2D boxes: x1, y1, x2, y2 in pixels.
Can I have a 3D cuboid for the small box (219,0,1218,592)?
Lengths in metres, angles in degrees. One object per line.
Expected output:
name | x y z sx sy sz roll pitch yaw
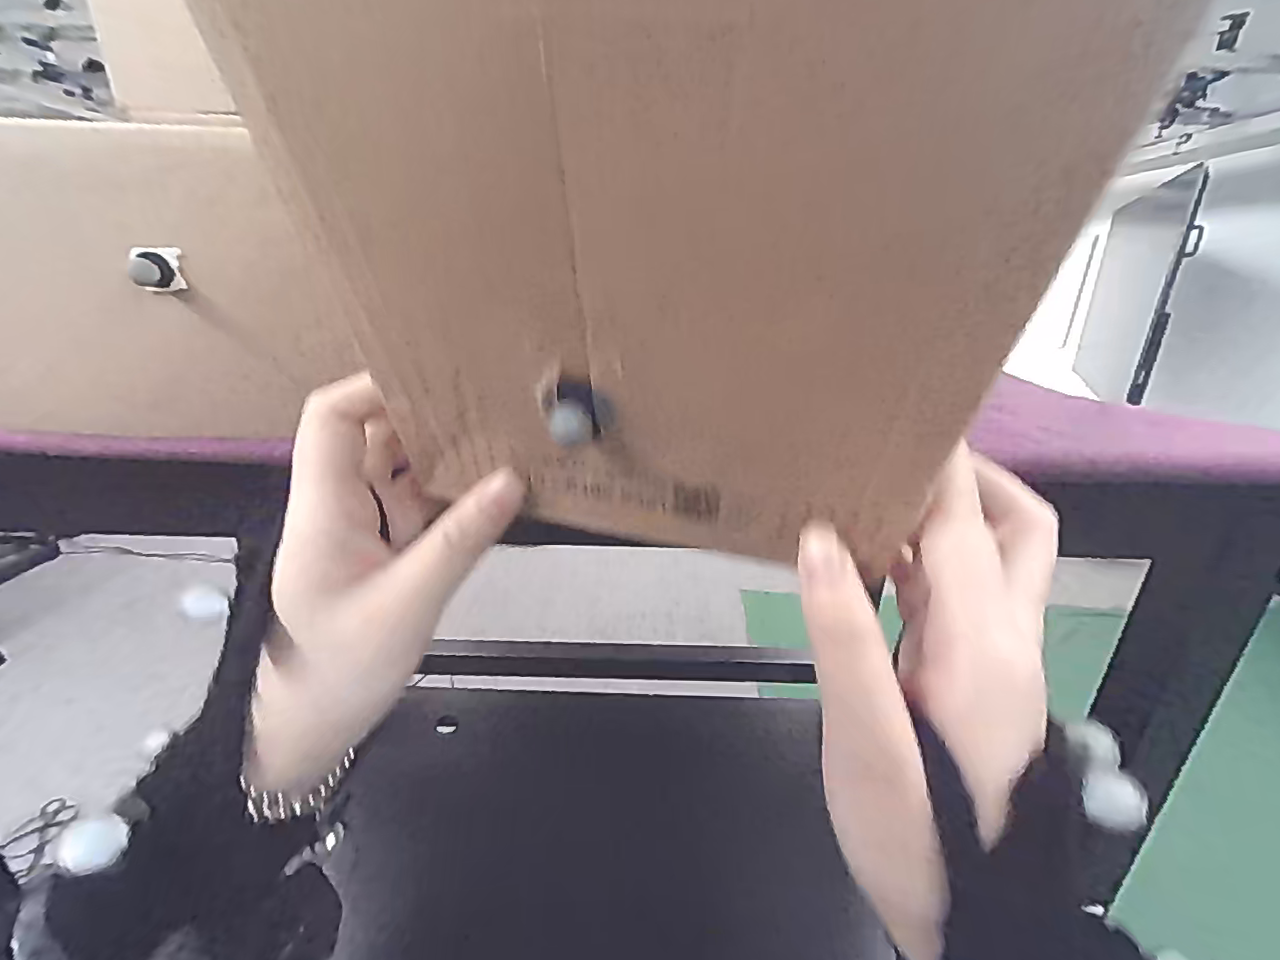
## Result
small box | 0.018 -0.091 0.187 0.168 0.176 0.179 10 50 11
